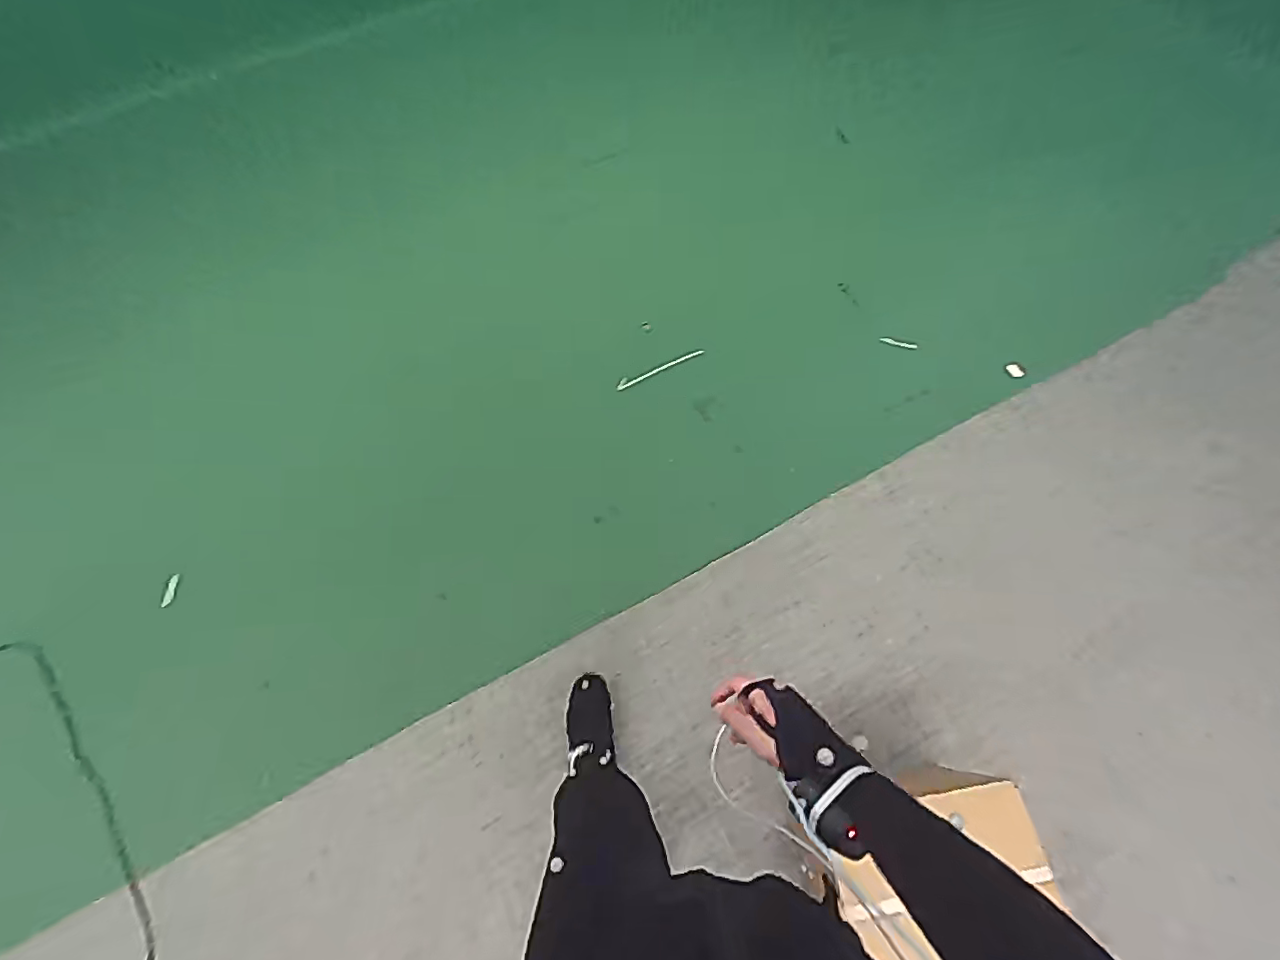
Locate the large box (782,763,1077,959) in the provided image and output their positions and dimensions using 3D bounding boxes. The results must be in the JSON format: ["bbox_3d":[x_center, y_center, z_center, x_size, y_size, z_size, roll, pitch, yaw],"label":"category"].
[{"bbox_3d":[0.568,0.817,1.153,0.408,0.320,0.320,-9,67,-3],"label":"large box"}]
